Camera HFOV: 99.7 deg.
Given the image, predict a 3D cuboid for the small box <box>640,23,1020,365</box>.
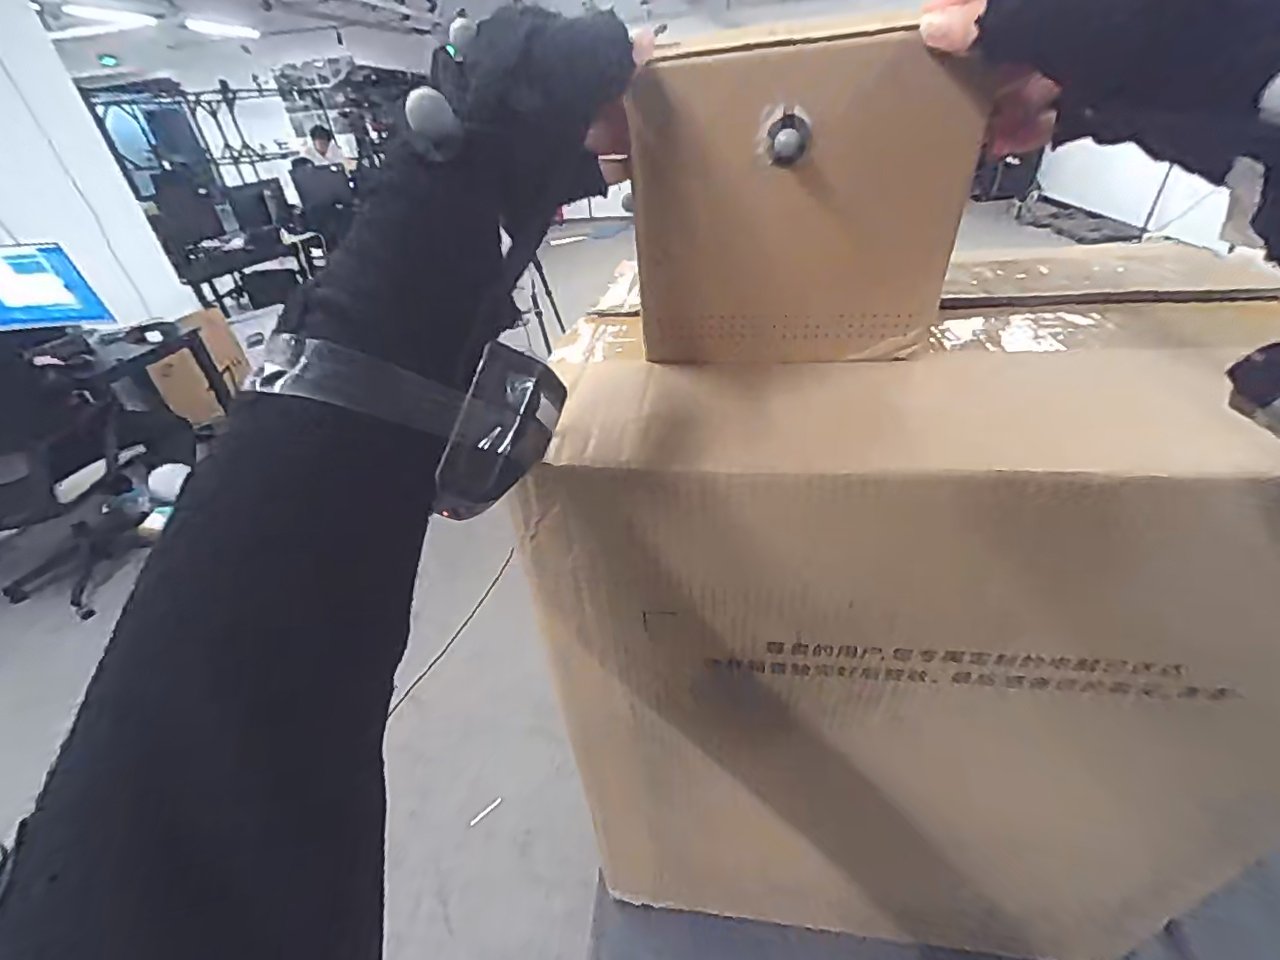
[{"bbox_3d":[0.104,-0.189,0.363,0.179,0.176,0.168,3,42,10],"label":"small box"}]
